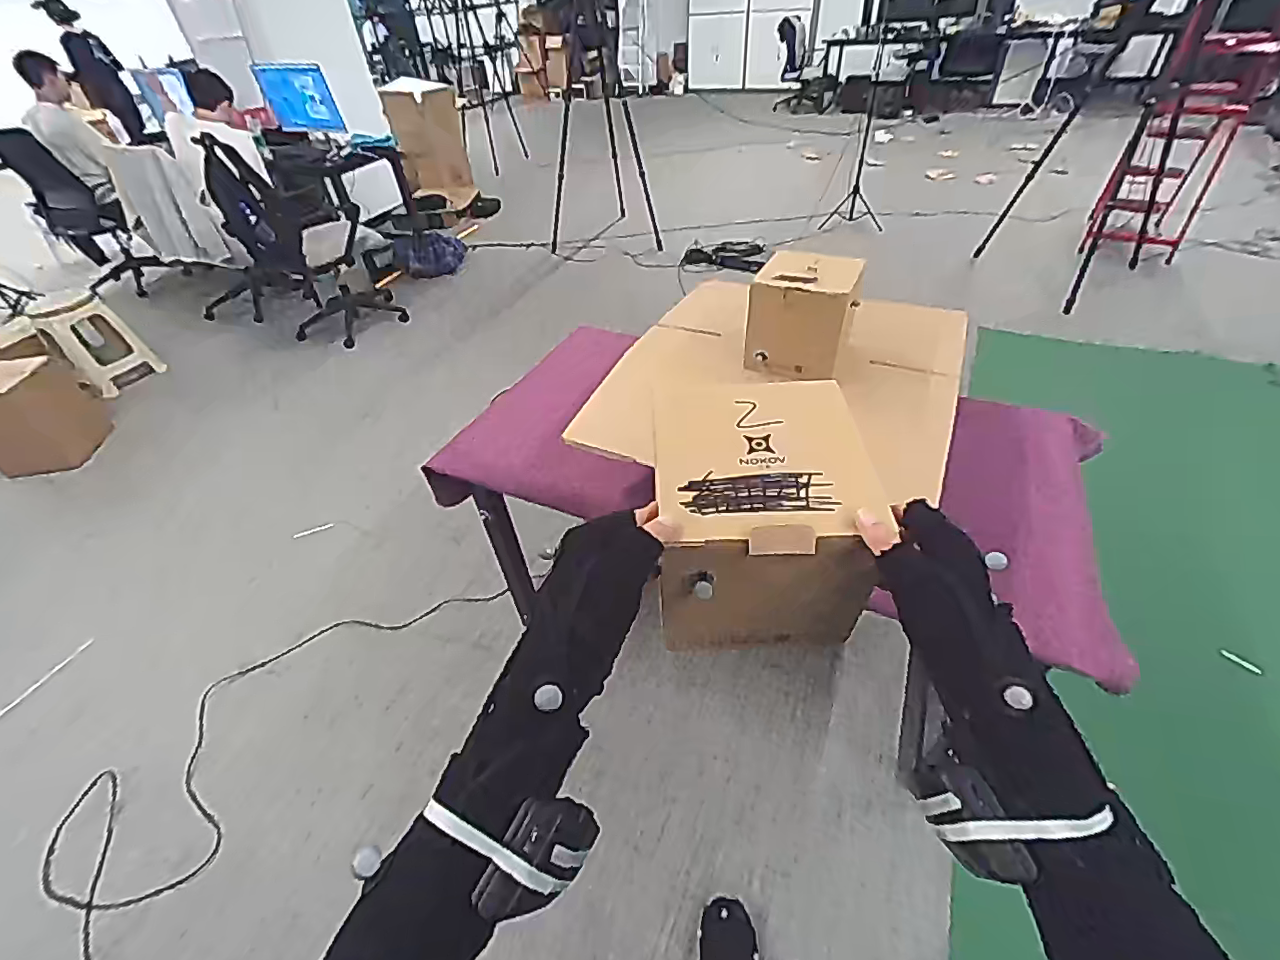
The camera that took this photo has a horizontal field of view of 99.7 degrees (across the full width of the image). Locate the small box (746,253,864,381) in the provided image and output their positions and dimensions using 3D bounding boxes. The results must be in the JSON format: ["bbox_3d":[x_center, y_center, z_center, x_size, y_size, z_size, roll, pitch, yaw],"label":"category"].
[{"bbox_3d":[0.303,-0.305,1.010,0.168,0.176,0.179,17,44,21],"label":"small box"}]
